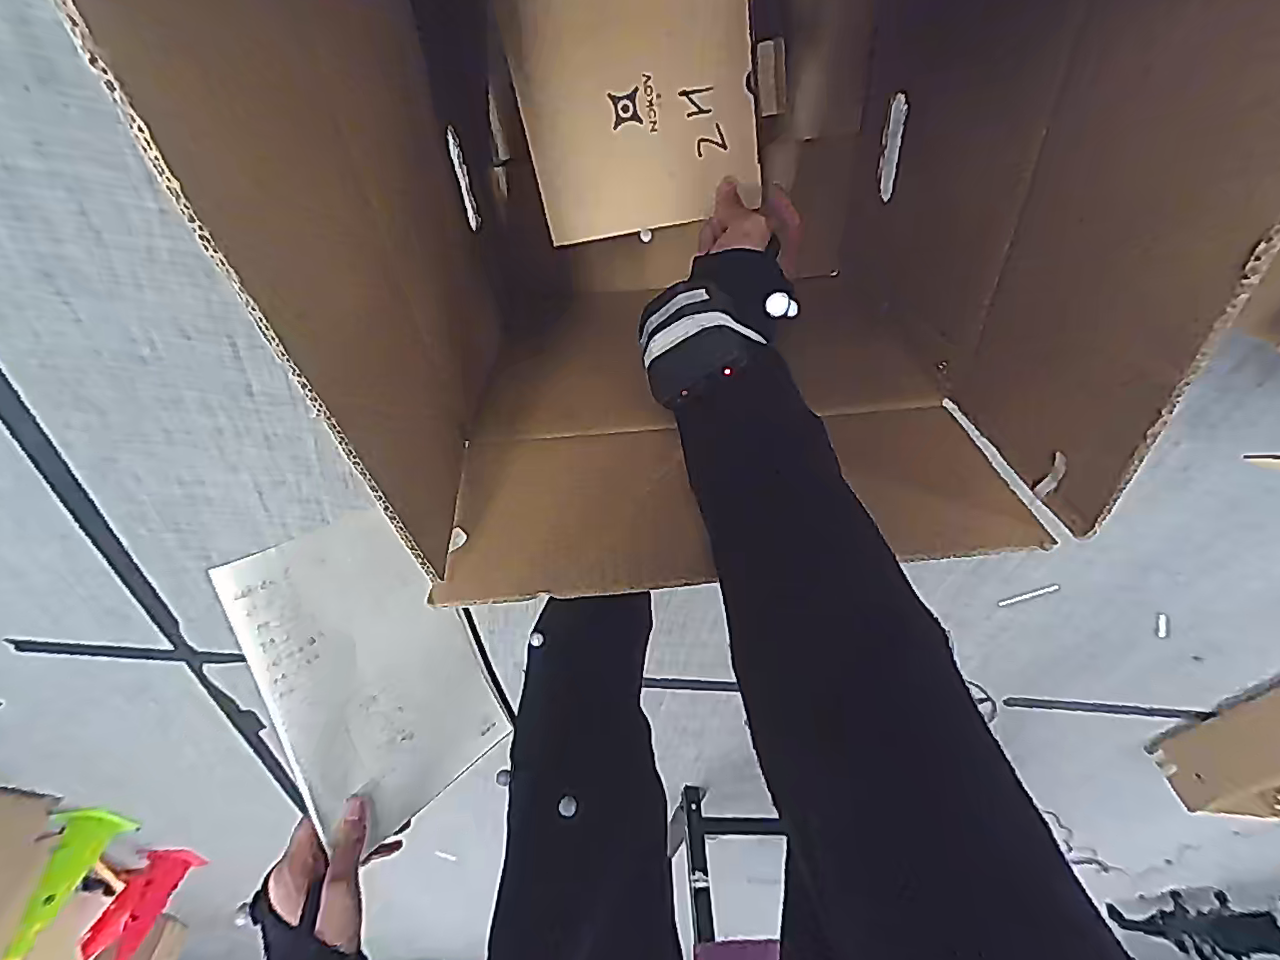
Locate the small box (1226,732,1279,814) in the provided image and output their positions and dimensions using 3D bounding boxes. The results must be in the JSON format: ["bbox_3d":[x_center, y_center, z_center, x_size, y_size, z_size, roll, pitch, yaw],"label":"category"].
[{"bbox_3d":[1.808,0.808,1.491,0.179,0.176,0.168,17,128,-16],"label":"small box"}]
